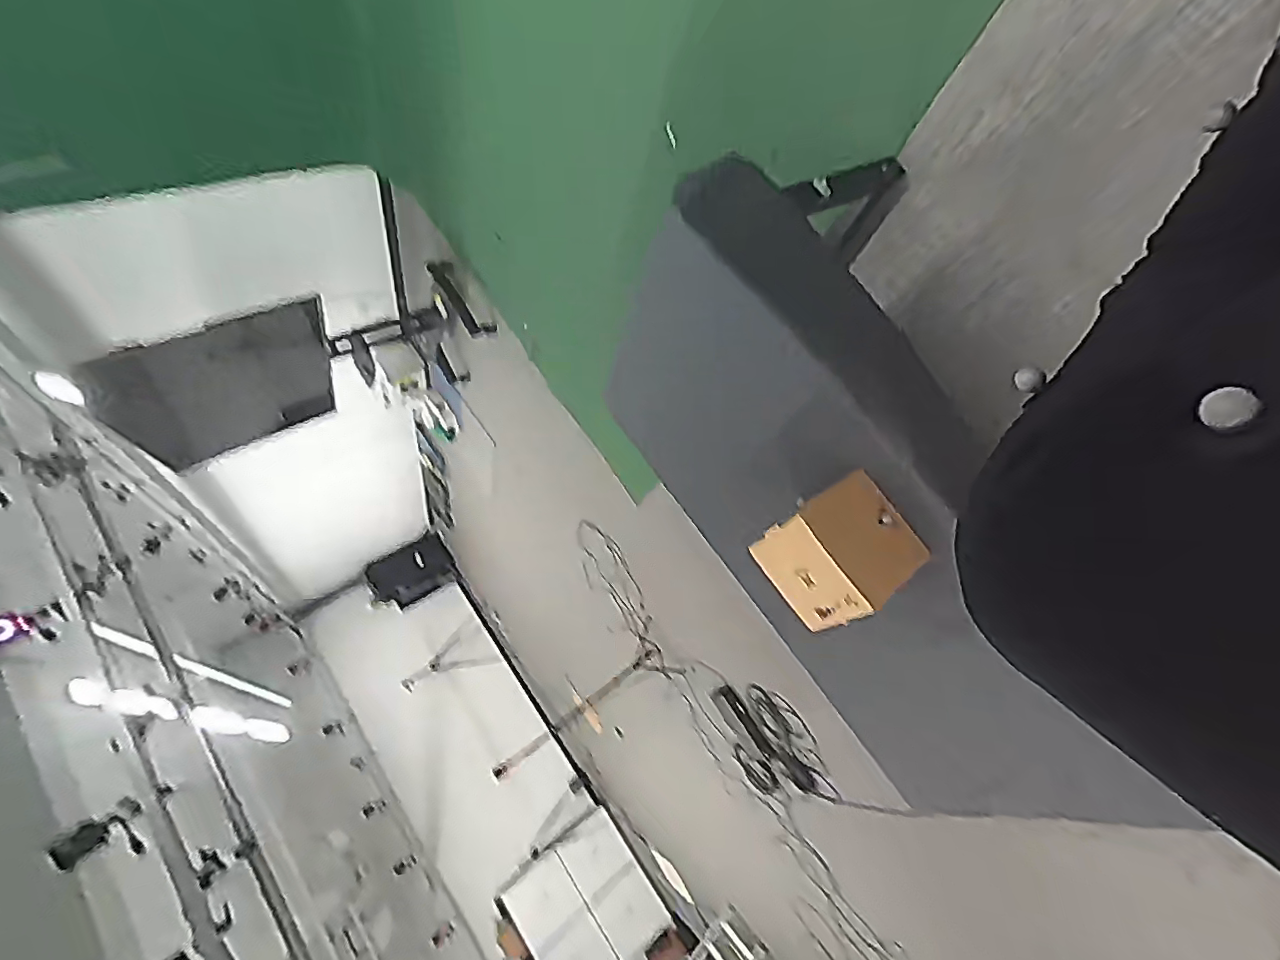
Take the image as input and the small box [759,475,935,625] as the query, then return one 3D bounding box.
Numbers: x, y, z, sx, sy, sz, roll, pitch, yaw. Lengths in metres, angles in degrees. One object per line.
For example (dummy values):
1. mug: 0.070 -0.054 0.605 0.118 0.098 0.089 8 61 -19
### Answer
1. small box: 0.343 0.111 0.906 0.179 0.176 0.168 54 152 12
